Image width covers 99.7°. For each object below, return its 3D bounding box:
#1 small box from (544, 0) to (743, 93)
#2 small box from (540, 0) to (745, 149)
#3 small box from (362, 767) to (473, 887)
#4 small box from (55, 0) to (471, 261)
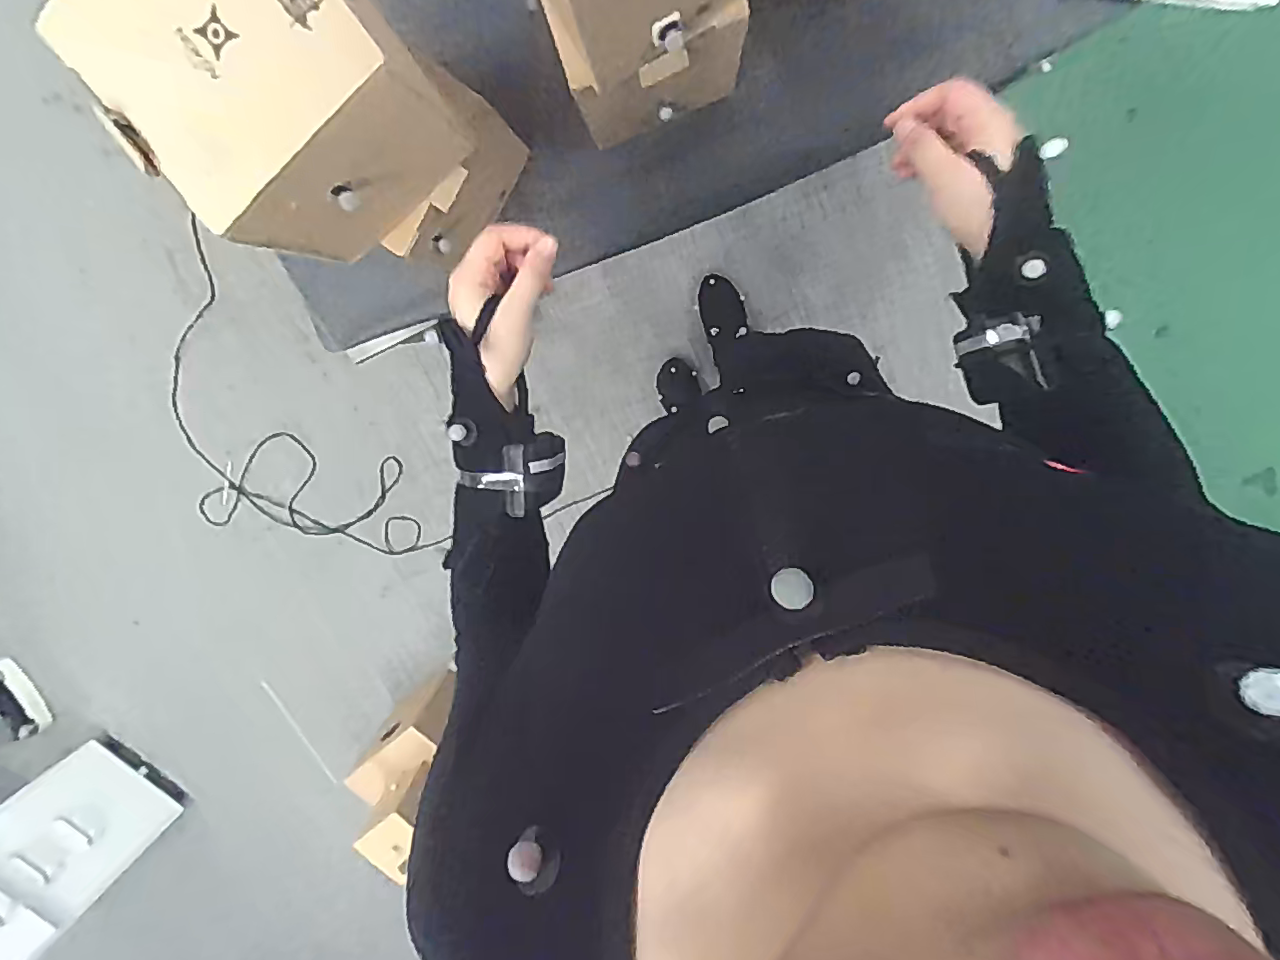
[{"bbox_3d":[-0.017,-0.426,0.375,0.168,0.176,0.179,-30,102,13],"label":"small box"},{"bbox_3d":[-0.007,-0.470,0.532,0.168,0.176,0.179,-18,103,11],"label":"small box"},{"bbox_3d":[-0.573,0.905,1.420,0.168,0.176,0.179,-40,100,12],"label":"small box"},{"bbox_3d":[-0.270,-0.299,0.431,0.179,0.176,0.168,-36,100,14],"label":"small box"}]
